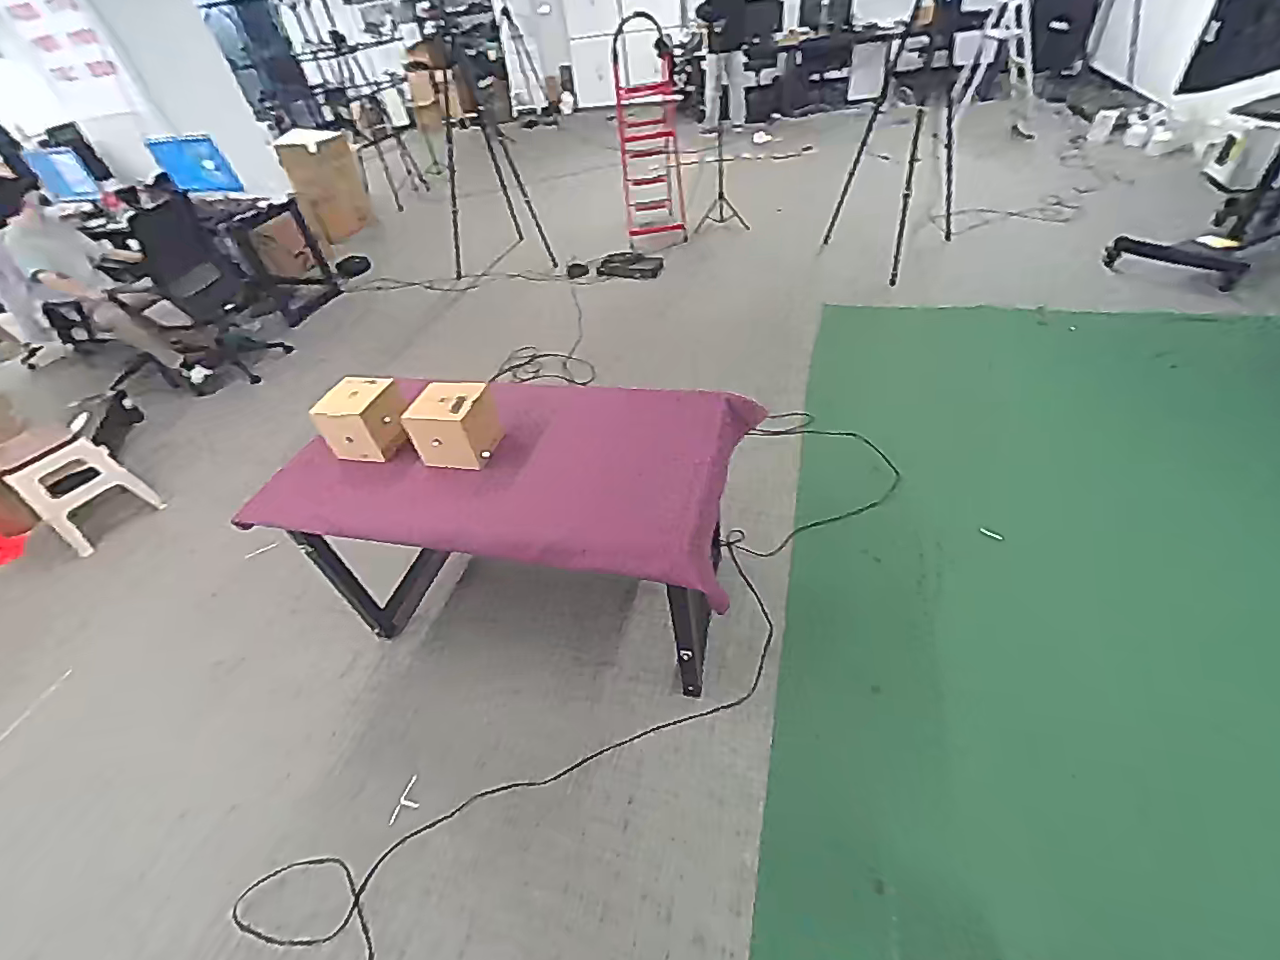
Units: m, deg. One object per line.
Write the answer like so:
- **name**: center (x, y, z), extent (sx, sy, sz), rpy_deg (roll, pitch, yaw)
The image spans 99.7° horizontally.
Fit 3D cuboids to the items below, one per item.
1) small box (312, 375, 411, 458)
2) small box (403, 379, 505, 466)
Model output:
- **small box**: center (-0.771, -0.180, 1.536), extent (0.168, 0.176, 0.179), rpy_deg (5, 46, 14)
- **small box**: center (-0.490, -0.154, 1.460), extent (0.179, 0.176, 0.168), rpy_deg (4, 45, 15)
